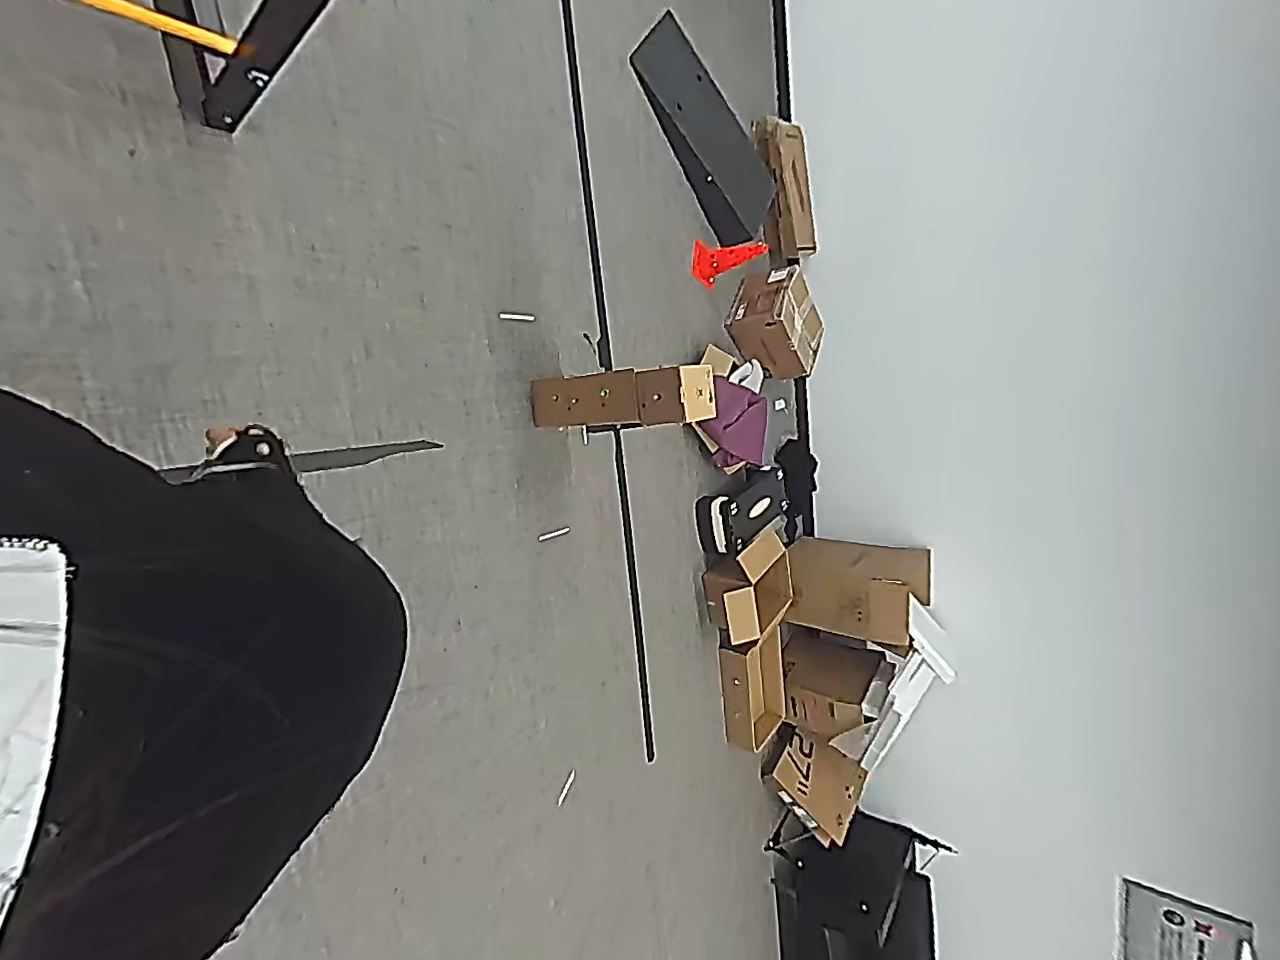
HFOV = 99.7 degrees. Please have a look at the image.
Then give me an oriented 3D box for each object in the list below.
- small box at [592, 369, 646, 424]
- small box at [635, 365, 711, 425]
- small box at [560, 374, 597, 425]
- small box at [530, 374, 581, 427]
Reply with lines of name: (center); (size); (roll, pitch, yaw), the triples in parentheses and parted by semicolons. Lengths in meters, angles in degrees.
small box: (-0.037, -0.269, 1.761); (0.179, 0.176, 0.168); (-10, 99, -50)
small box: (0.097, -0.261, 1.666); (0.179, 0.176, 0.168); (-16, 104, -49)
small box: (-0.155, -0.276, 1.873); (0.179, 0.176, 0.168); (-10, 99, -50)
small box: (-0.287, -0.287, 1.971); (0.168, 0.176, 0.179); (-10, 100, -50)
